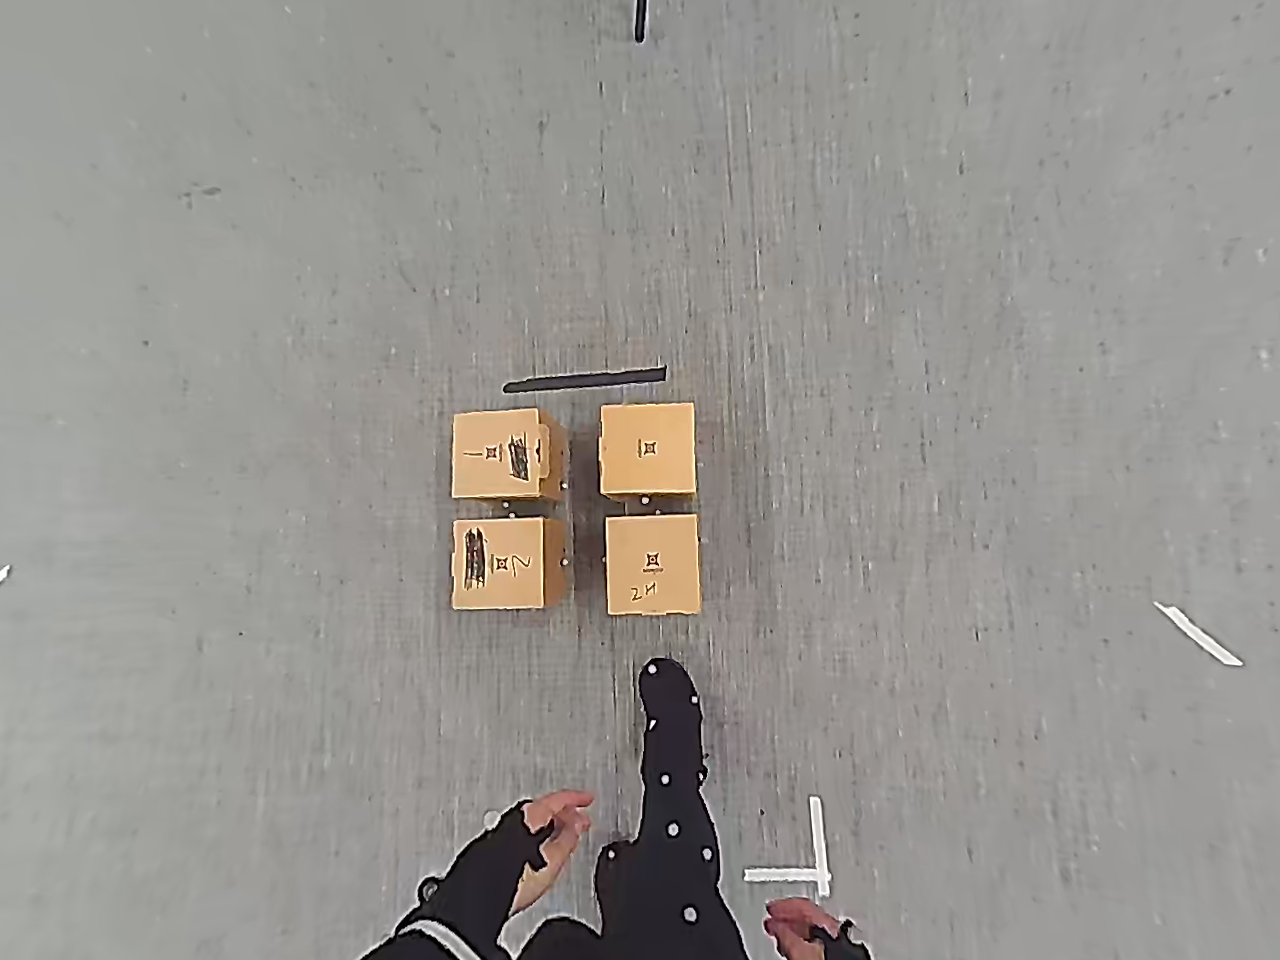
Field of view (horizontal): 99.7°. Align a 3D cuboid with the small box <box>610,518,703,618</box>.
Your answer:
[{"bbox_3d":[0.036,0.167,1.045,0.168,0.176,0.179,-3,83,7],"label":"small box"}]
